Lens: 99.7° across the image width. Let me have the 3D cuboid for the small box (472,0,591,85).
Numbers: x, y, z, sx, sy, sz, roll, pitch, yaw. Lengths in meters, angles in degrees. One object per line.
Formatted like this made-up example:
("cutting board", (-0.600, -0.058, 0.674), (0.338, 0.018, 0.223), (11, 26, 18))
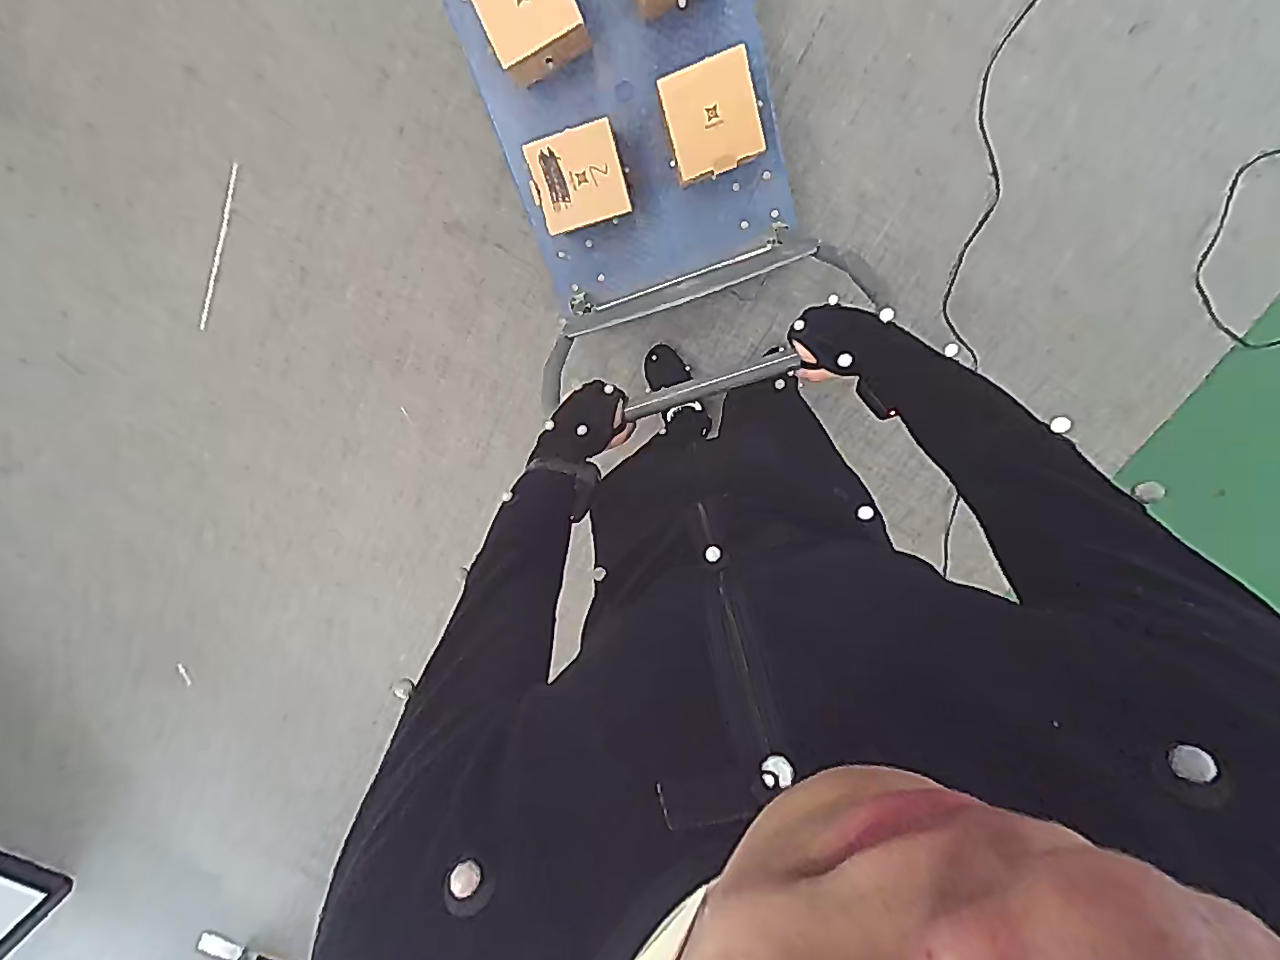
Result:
("small box", (-0.202, -0.868, 1.000), (0.168, 0.176, 0.179), (-22, 114, 11))

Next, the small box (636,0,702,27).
("small box", (0.050, -0.956, 0.951), (0.168, 0.176, 0.179), (-21, 115, 12))

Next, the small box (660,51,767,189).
("small box", (0.140, -0.701, 1.076), (0.168, 0.176, 0.179), (-16, 115, 9))
